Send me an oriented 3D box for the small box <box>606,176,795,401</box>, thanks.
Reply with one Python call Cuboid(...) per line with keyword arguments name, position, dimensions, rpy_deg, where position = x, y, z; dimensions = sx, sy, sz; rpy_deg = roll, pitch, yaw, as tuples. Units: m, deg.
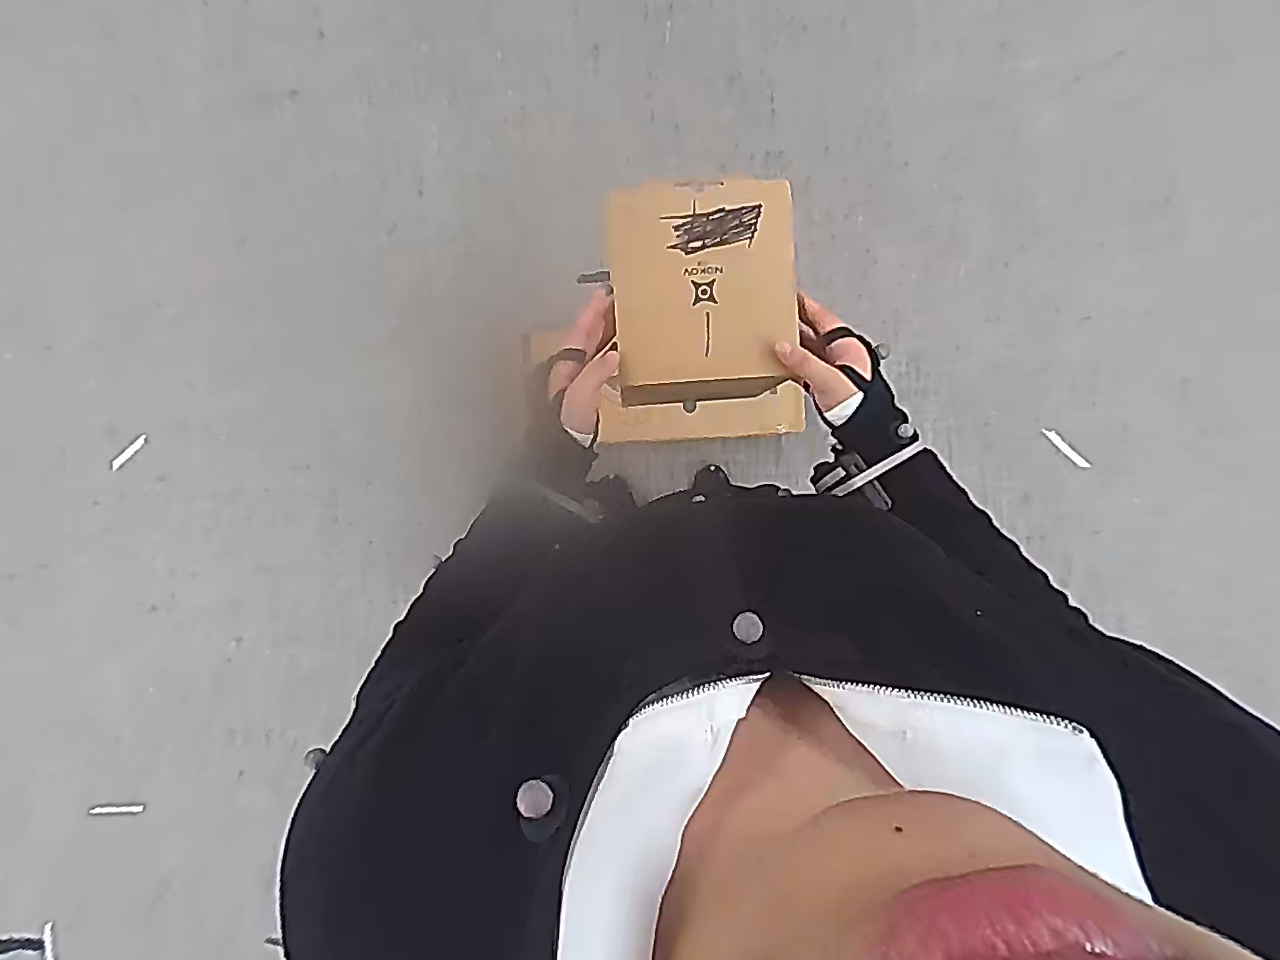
Cuboid(name="small box", position=(0.051, -0.183, 0.563), dimensions=(0.168, 0.176, 0.179), rpy_deg=(-4, 92, -1))
